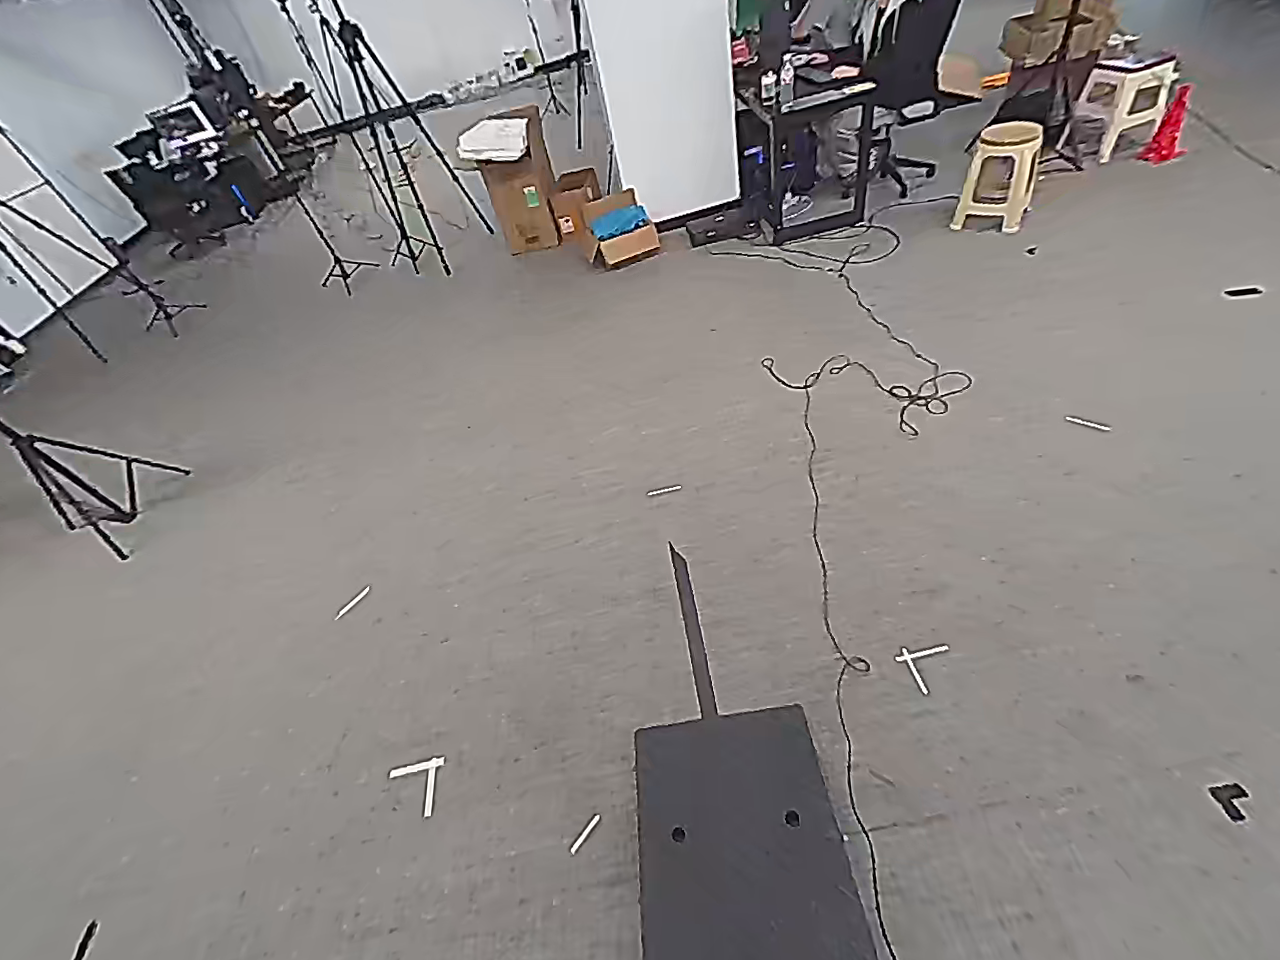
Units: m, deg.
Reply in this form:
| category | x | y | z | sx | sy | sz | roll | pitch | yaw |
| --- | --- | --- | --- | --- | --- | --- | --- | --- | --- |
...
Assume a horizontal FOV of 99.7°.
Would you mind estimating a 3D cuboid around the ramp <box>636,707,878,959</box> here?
| category | x | y | z | sx | sy | sz | roll | pitch | yaw |
| --- | --- | --- | --- | --- | --- | --- | --- | --- | --- |
| ramp | 0.241 | 0.985 | 1.164 | 0.509 | 0.206 | 0.991 | -13 | 45 | 5 |
